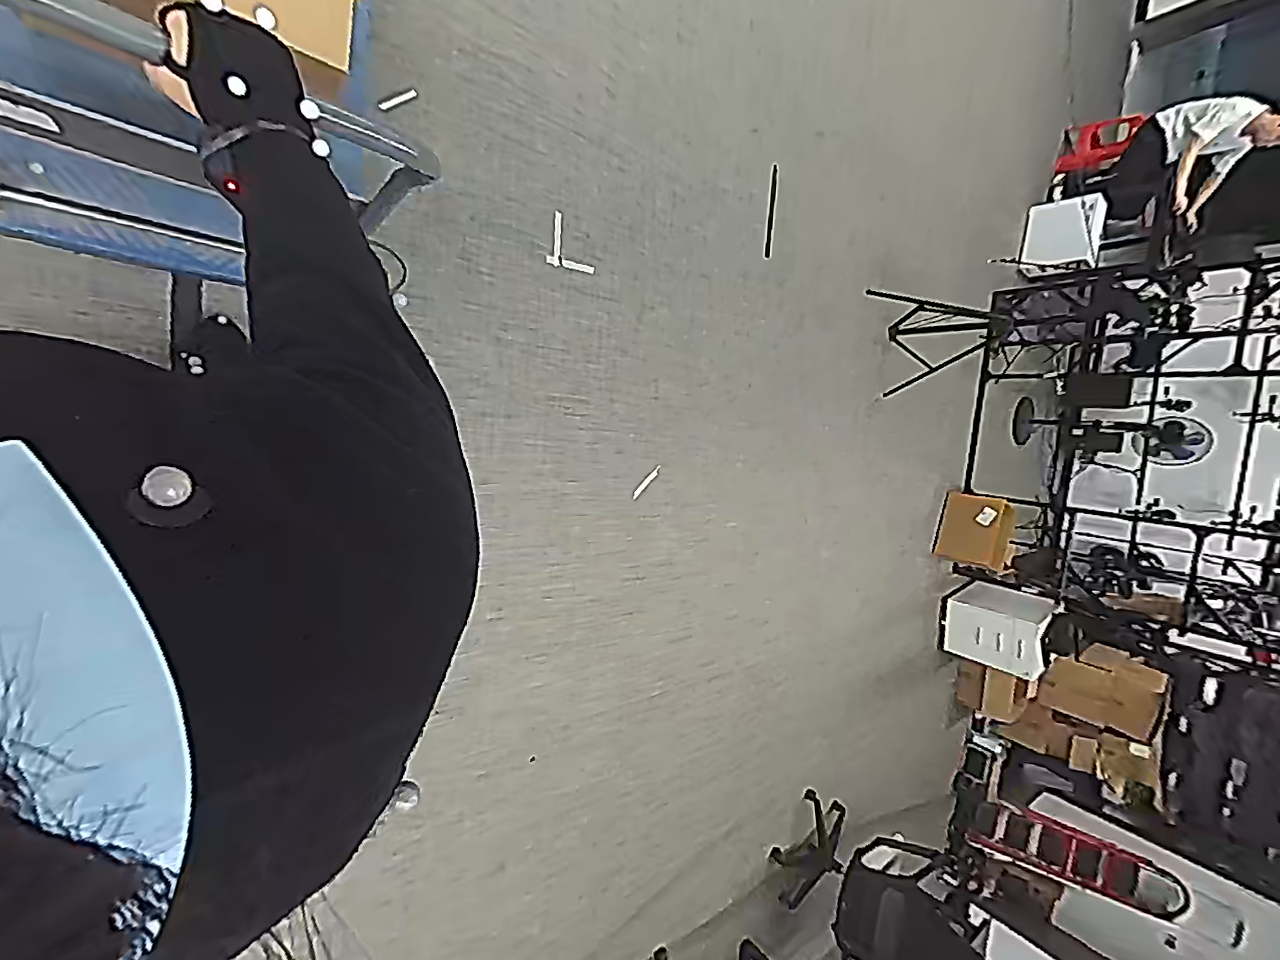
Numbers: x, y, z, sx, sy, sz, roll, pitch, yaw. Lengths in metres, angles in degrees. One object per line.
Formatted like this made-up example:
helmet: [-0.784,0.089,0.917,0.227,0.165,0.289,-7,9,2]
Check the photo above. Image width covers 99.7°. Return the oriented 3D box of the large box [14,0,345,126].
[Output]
large box: [-0.709,-0.844,0.846,0.408,0.320,0.320,3,95,-39]
